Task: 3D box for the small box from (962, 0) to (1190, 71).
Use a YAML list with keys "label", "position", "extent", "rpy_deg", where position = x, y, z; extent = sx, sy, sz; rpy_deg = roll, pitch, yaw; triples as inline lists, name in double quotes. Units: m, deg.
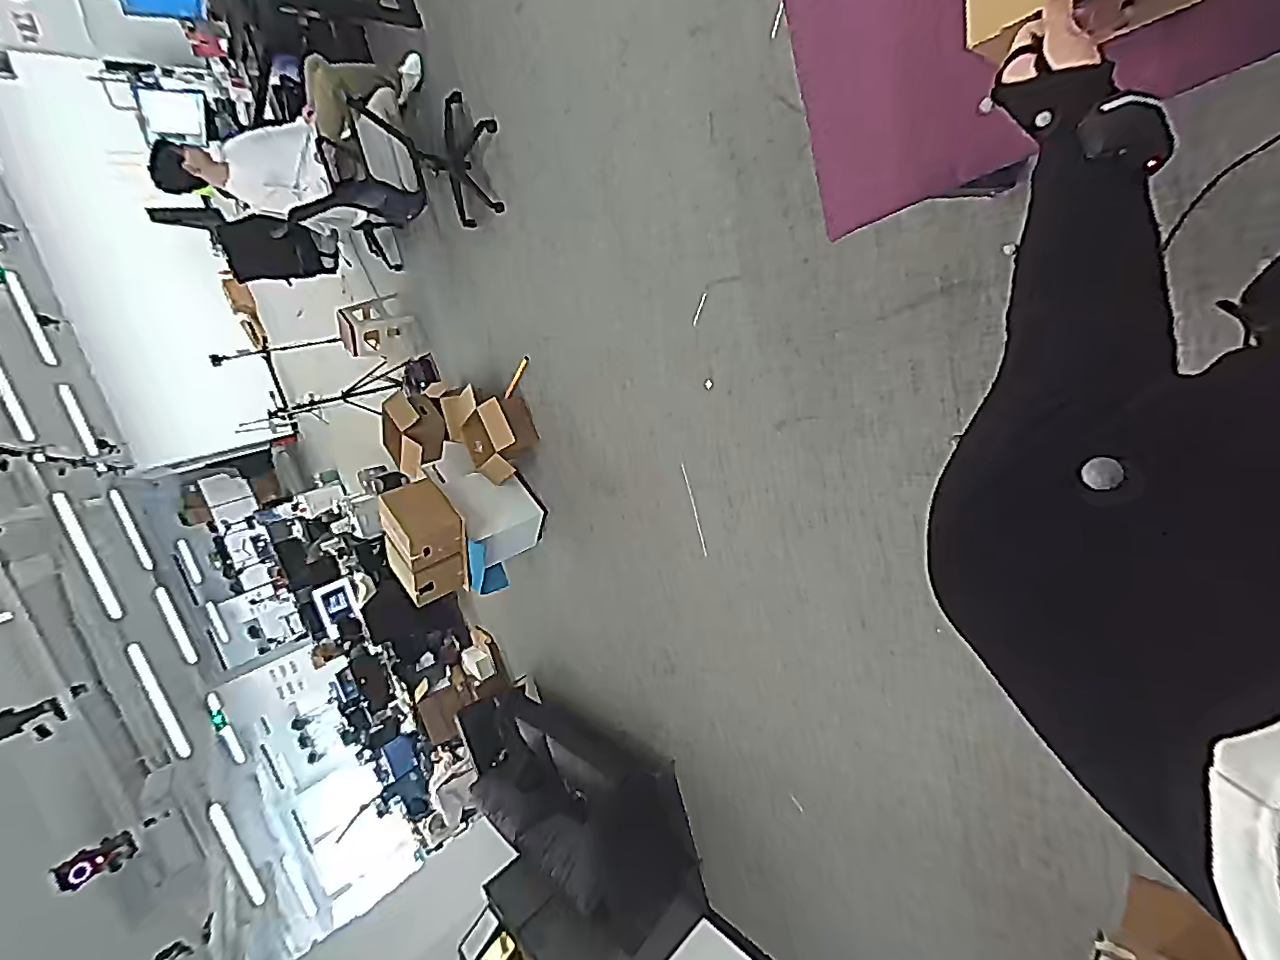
- label: "small box"
  position: [0.450, -0.555, 0.551]
  extent: [0.168, 0.176, 0.179]
  rpy_deg: [7, 110, 49]
